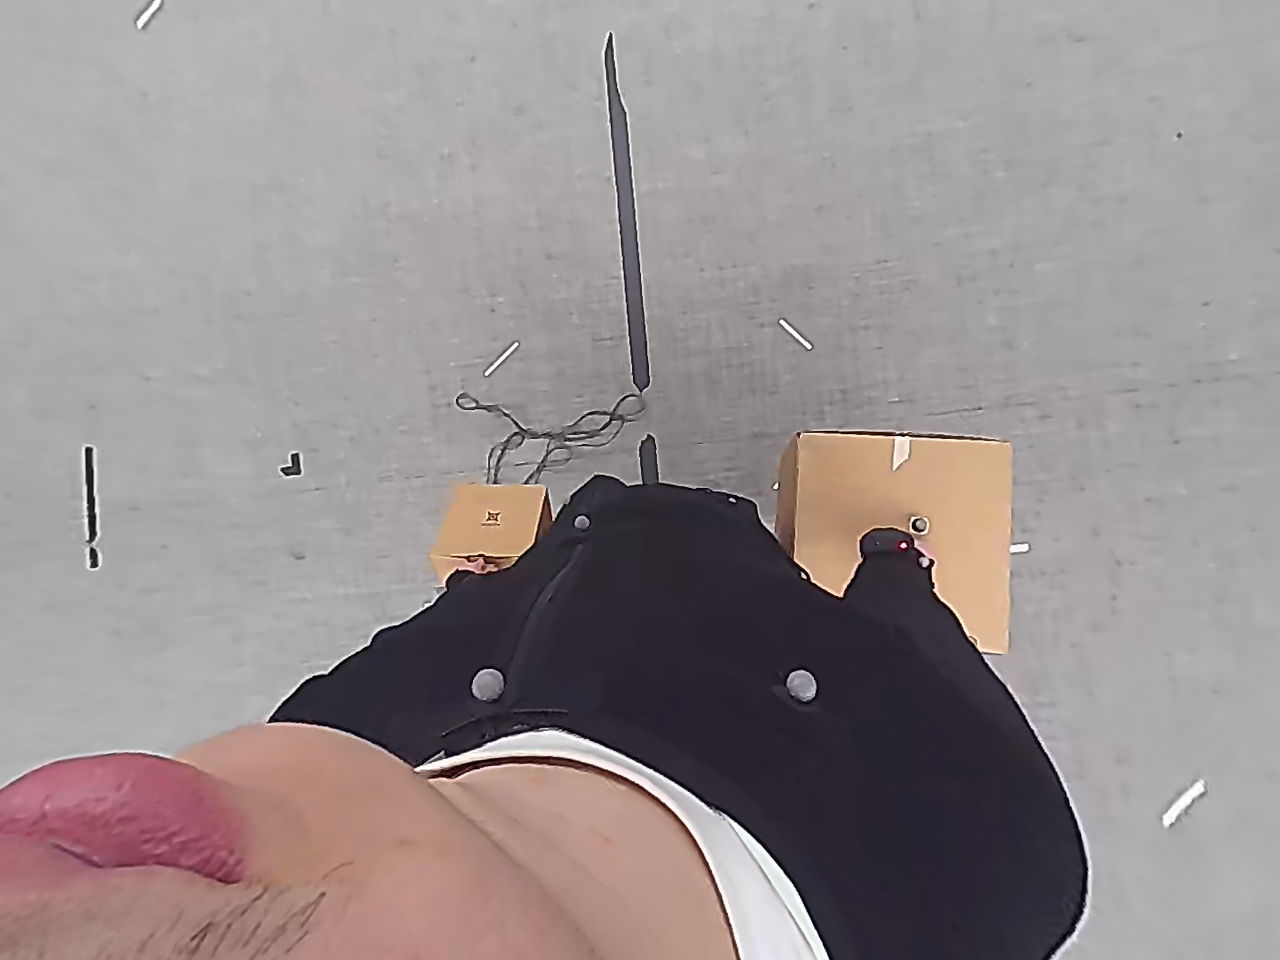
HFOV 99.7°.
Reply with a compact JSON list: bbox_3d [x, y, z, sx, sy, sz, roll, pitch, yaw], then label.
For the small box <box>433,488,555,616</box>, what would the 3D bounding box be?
[{"bbox_3d":[-0.255,0.133,0.996,0.168,0.179,0.176,1,131,1],"label":"small box"}]
